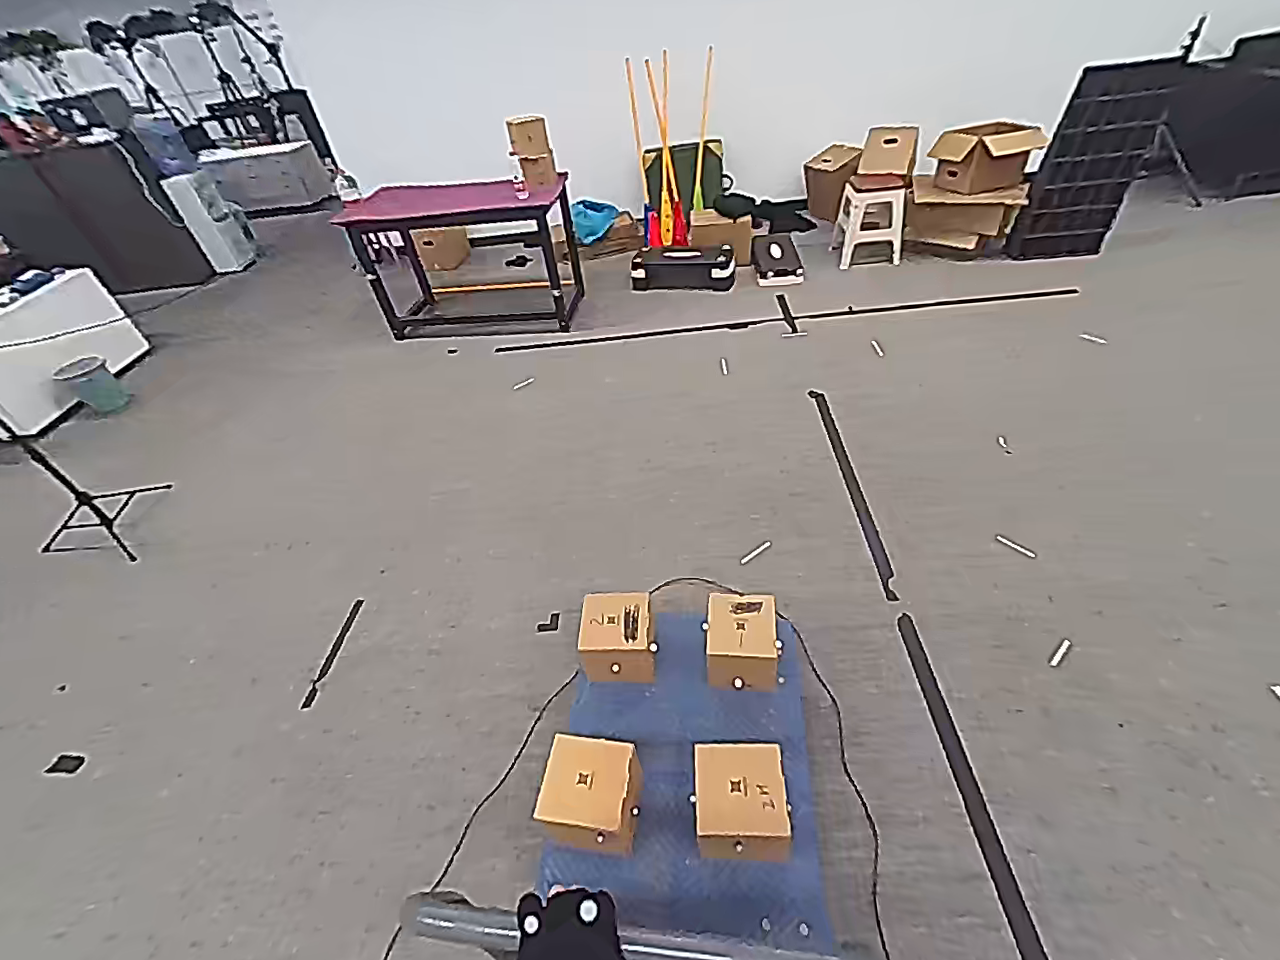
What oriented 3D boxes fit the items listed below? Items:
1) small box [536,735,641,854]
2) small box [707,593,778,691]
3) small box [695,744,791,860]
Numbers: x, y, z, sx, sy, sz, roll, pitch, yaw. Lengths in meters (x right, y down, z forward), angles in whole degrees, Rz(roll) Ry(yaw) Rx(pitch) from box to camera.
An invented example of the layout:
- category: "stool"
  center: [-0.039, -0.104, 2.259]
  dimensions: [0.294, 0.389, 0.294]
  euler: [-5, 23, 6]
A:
- category: "small box"
  center: [-0.100, 0.670, 1.151]
  dimensions: [0.179, 0.176, 0.168]
  euler: [3, 42, 10]
- category: "small box"
  center: [0.258, 0.411, 1.375]
  dimensions: [0.168, 0.176, 0.179]
  euler: [0, 44, 10]
- category: "small box"
  center: [0.207, 0.660, 1.108]
  dimensions: [0.179, 0.176, 0.168]
  euler: [-3, 42, 7]
